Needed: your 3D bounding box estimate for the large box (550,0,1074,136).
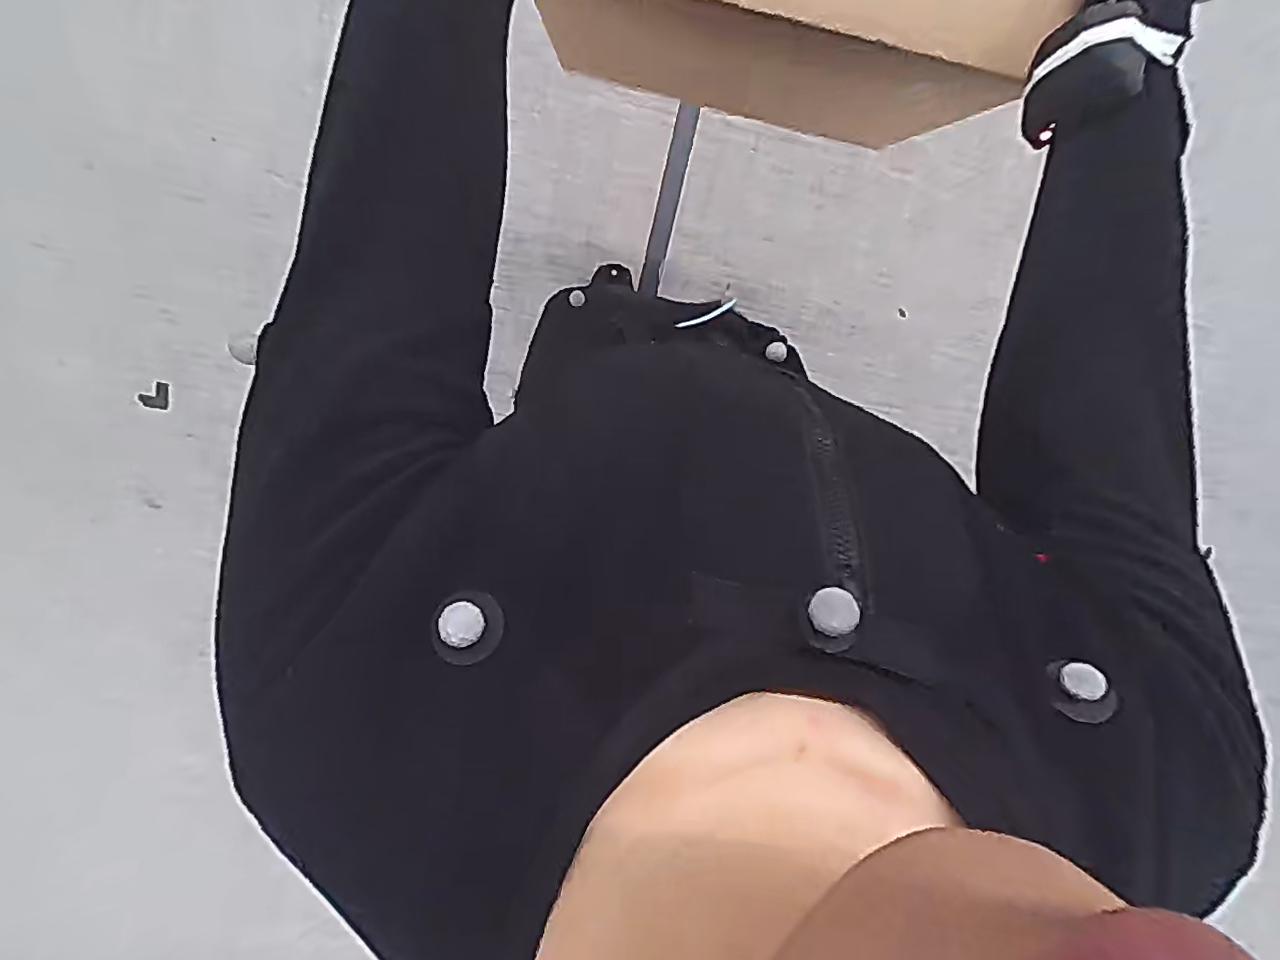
[{"bbox_3d":[0.139,-0.538,0.465,0.408,0.320,0.320,11,115,-6],"label":"large box"}]
